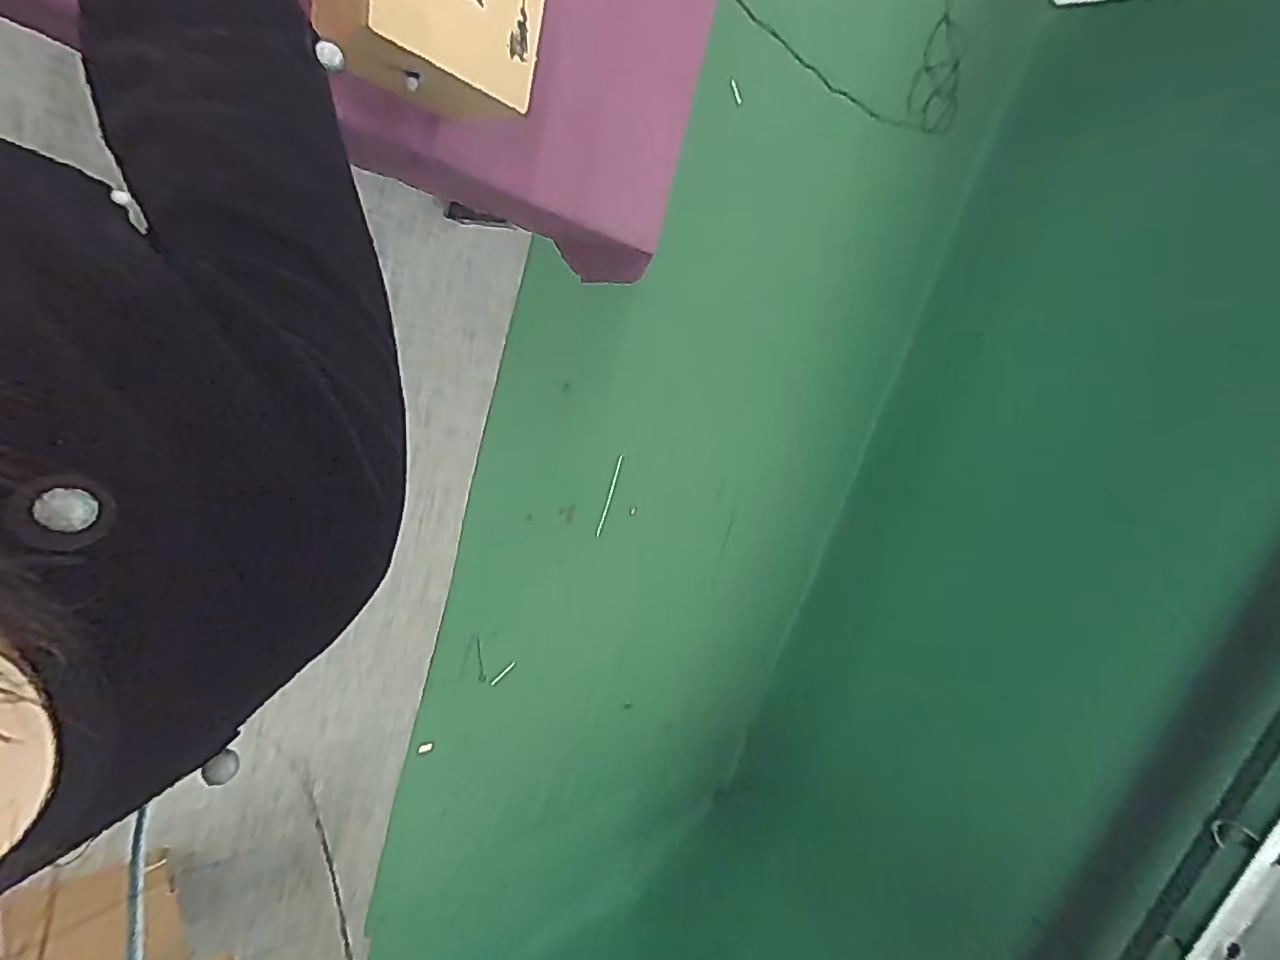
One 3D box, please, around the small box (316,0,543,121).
[{"bbox_3d":[-0.225,-0.509,0.575,0.179,0.176,0.168,-2,112,-46],"label":"small box"}]
